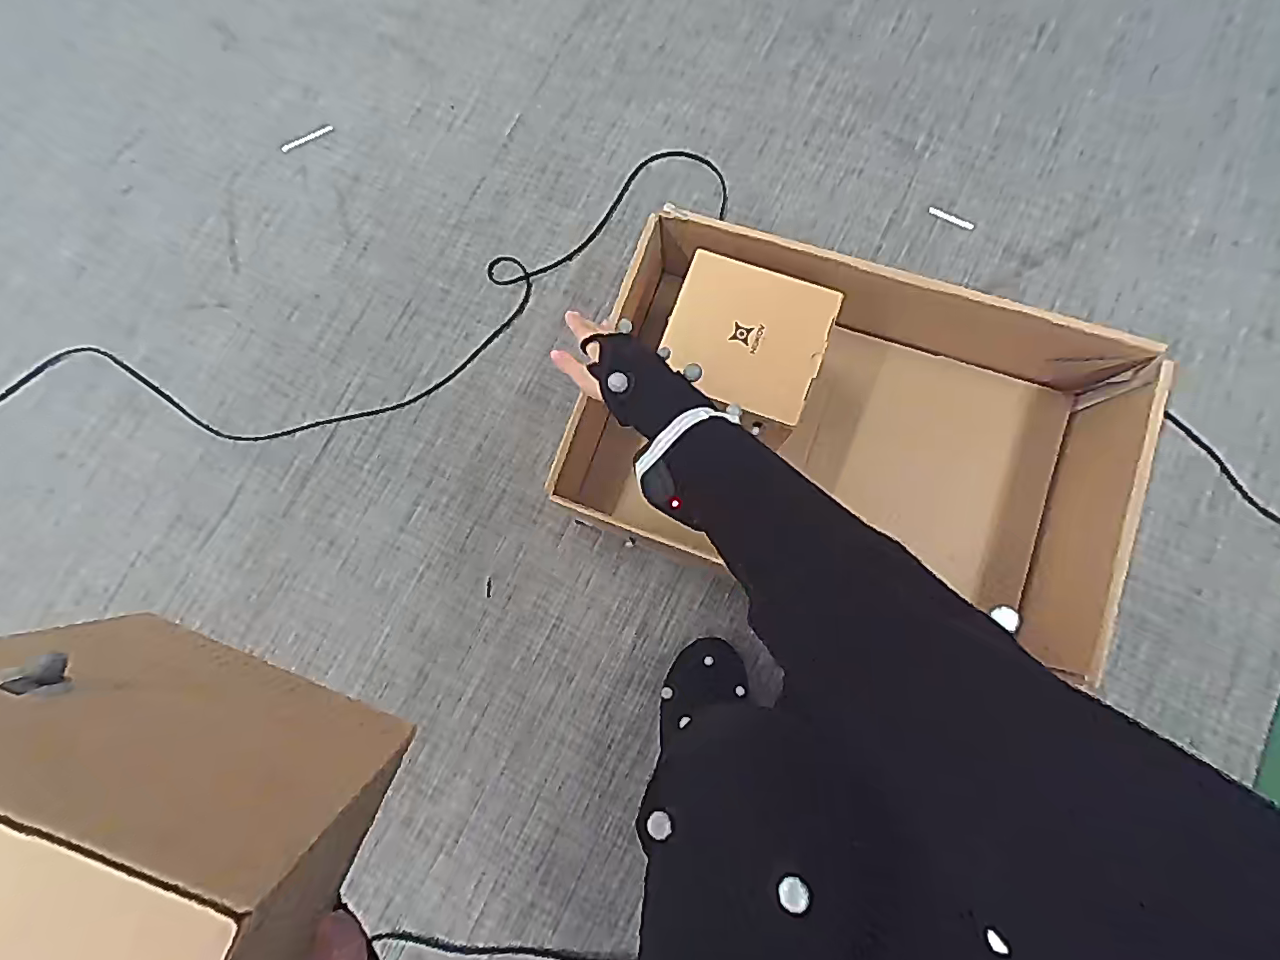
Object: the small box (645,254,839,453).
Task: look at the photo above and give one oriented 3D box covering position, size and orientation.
[{"bbox_3d":[0.119,-0.145,0.681,0.179,0.176,0.168,20,83,6],"label":"small box"}]
